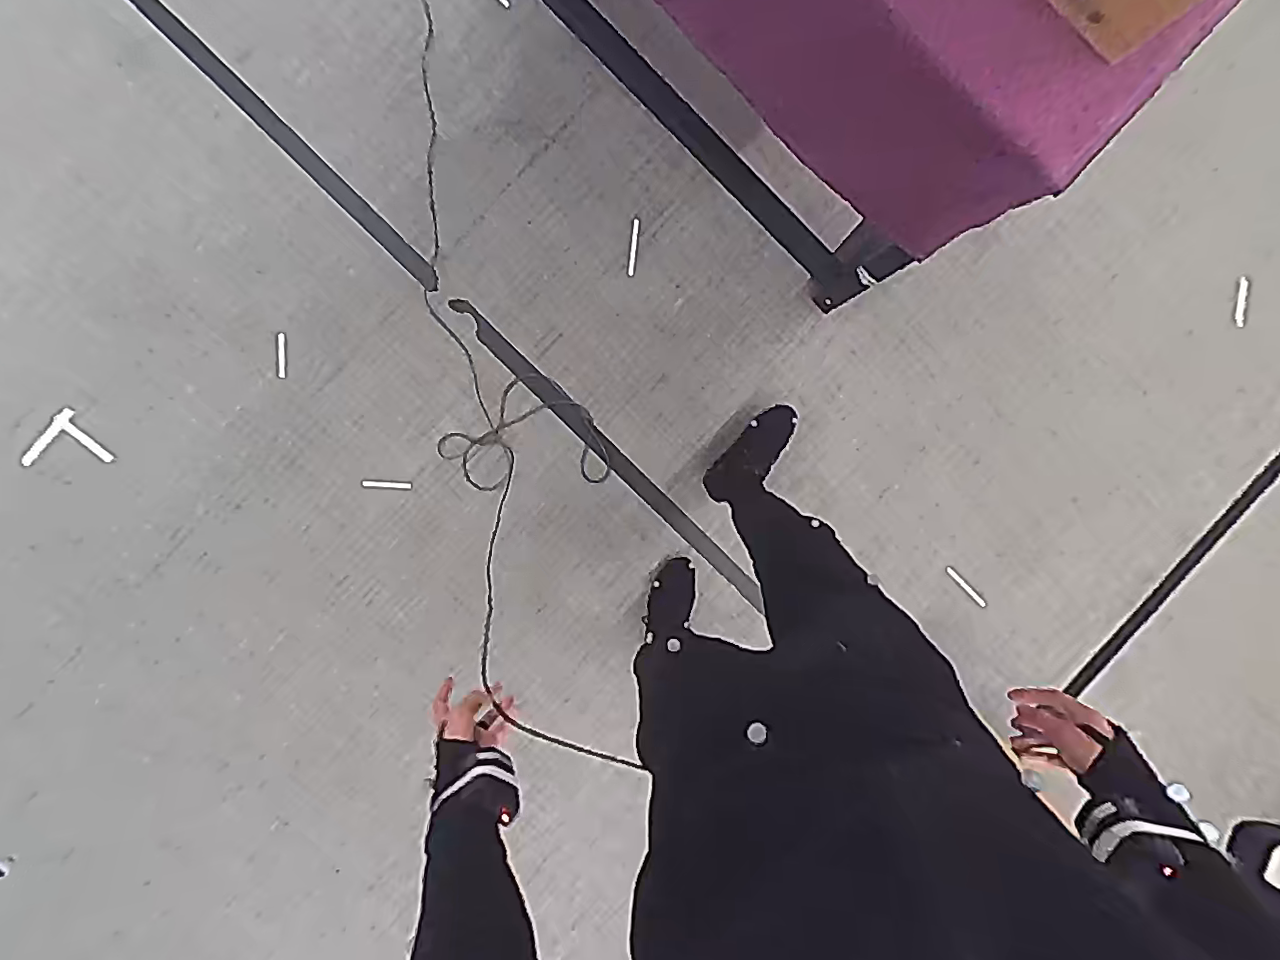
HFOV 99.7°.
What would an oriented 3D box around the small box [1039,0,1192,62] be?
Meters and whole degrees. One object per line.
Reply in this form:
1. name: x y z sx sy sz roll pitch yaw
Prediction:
1. small box: 0.575 -0.625 0.585 0.168 0.176 0.179 39 90 -4
